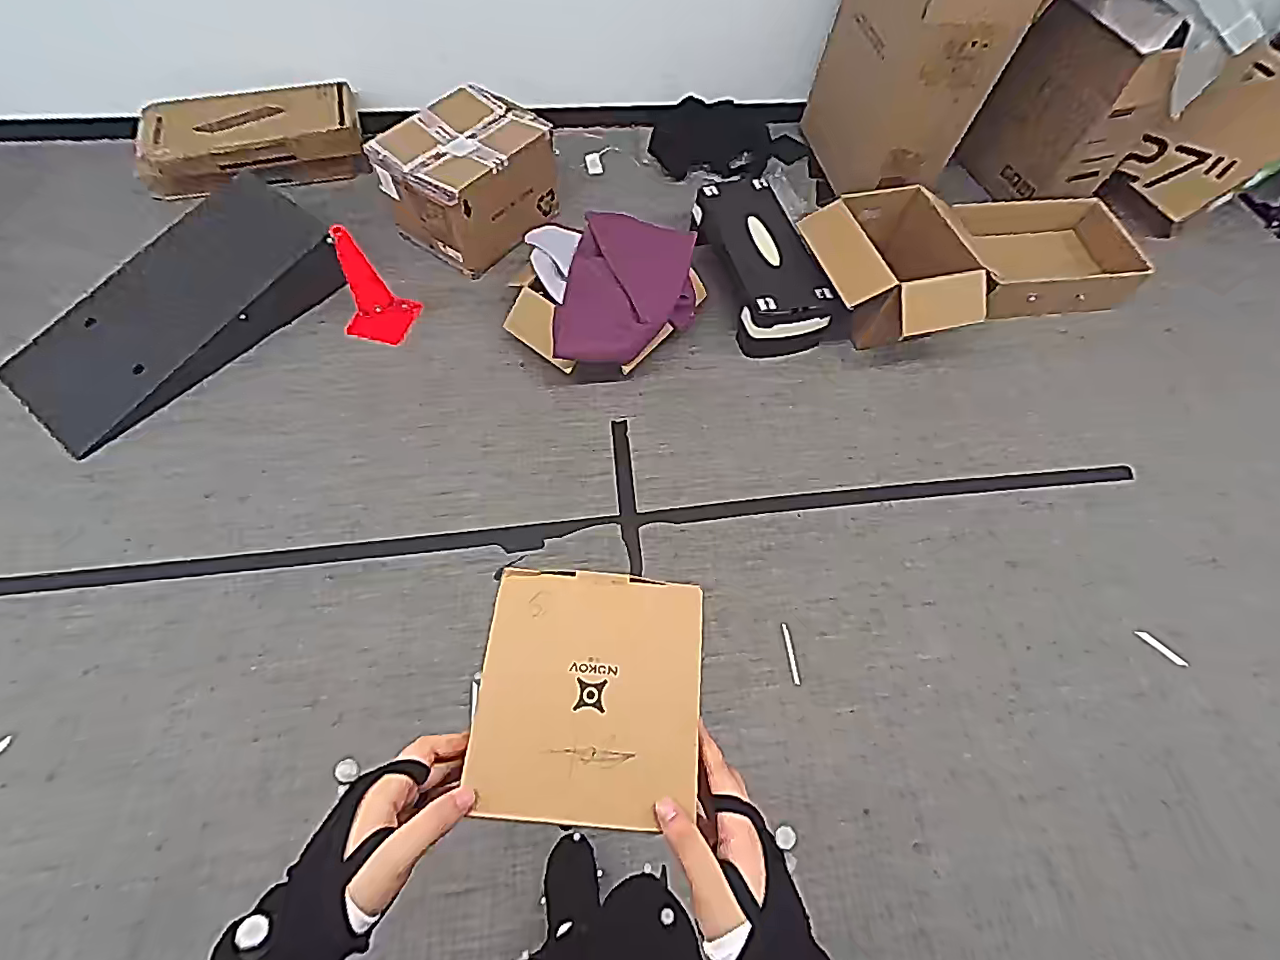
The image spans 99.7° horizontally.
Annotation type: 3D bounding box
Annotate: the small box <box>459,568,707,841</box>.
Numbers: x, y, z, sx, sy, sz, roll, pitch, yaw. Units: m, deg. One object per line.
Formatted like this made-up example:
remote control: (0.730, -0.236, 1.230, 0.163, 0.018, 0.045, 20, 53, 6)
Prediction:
small box: (-0.040, 0.192, 0.471, 0.168, 0.176, 0.179, 6, 64, -1)
